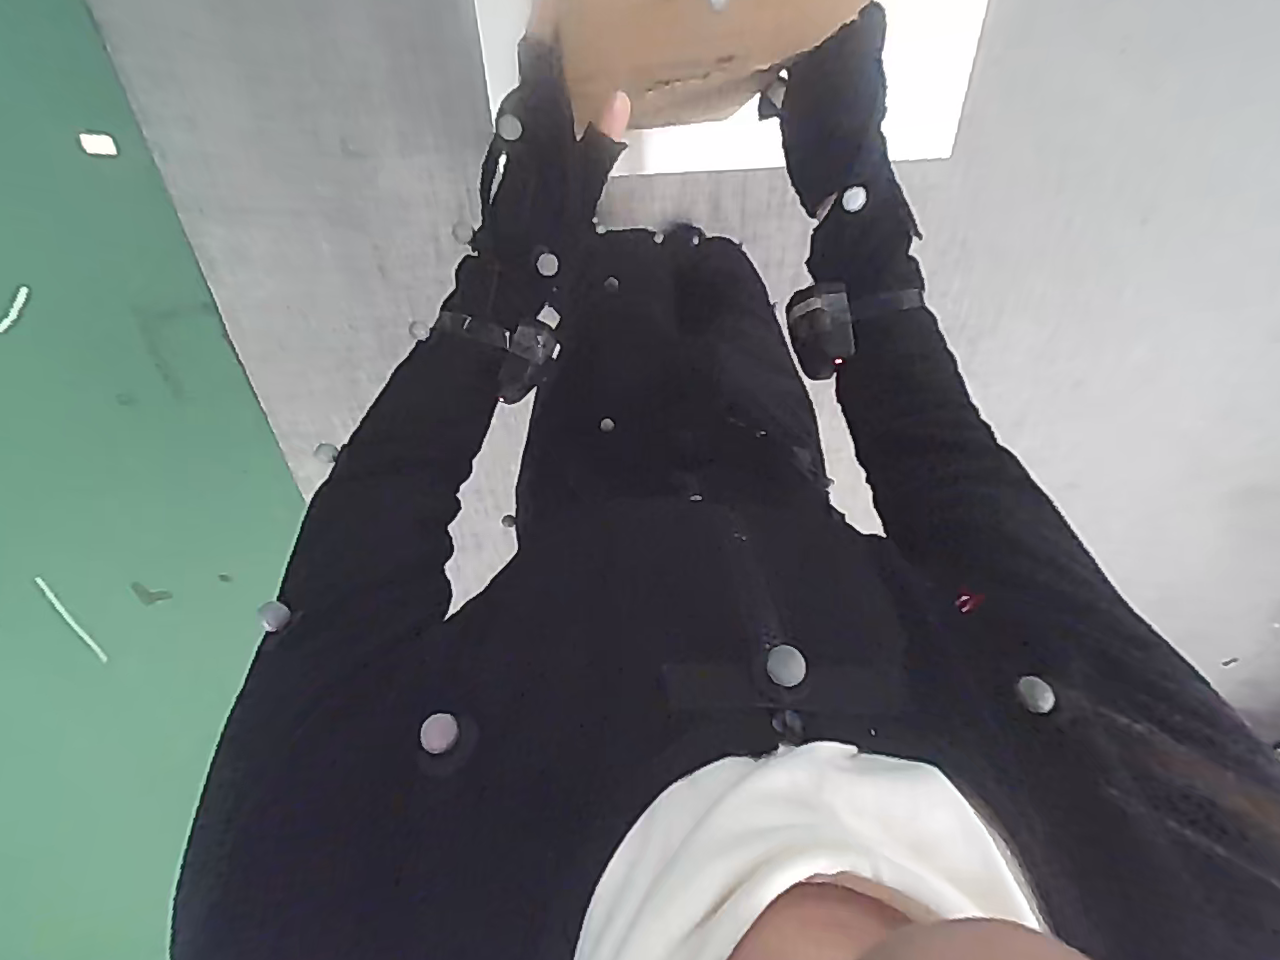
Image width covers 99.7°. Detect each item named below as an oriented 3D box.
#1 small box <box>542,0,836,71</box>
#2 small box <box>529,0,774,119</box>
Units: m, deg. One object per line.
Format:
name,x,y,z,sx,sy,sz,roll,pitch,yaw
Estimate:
small box,0.024,-0.332,0.256,0.168,0.176,0.179,-9,112,-5
small box,-0.003,-0.391,0.405,0.168,0.176,0.179,-9,112,-5
